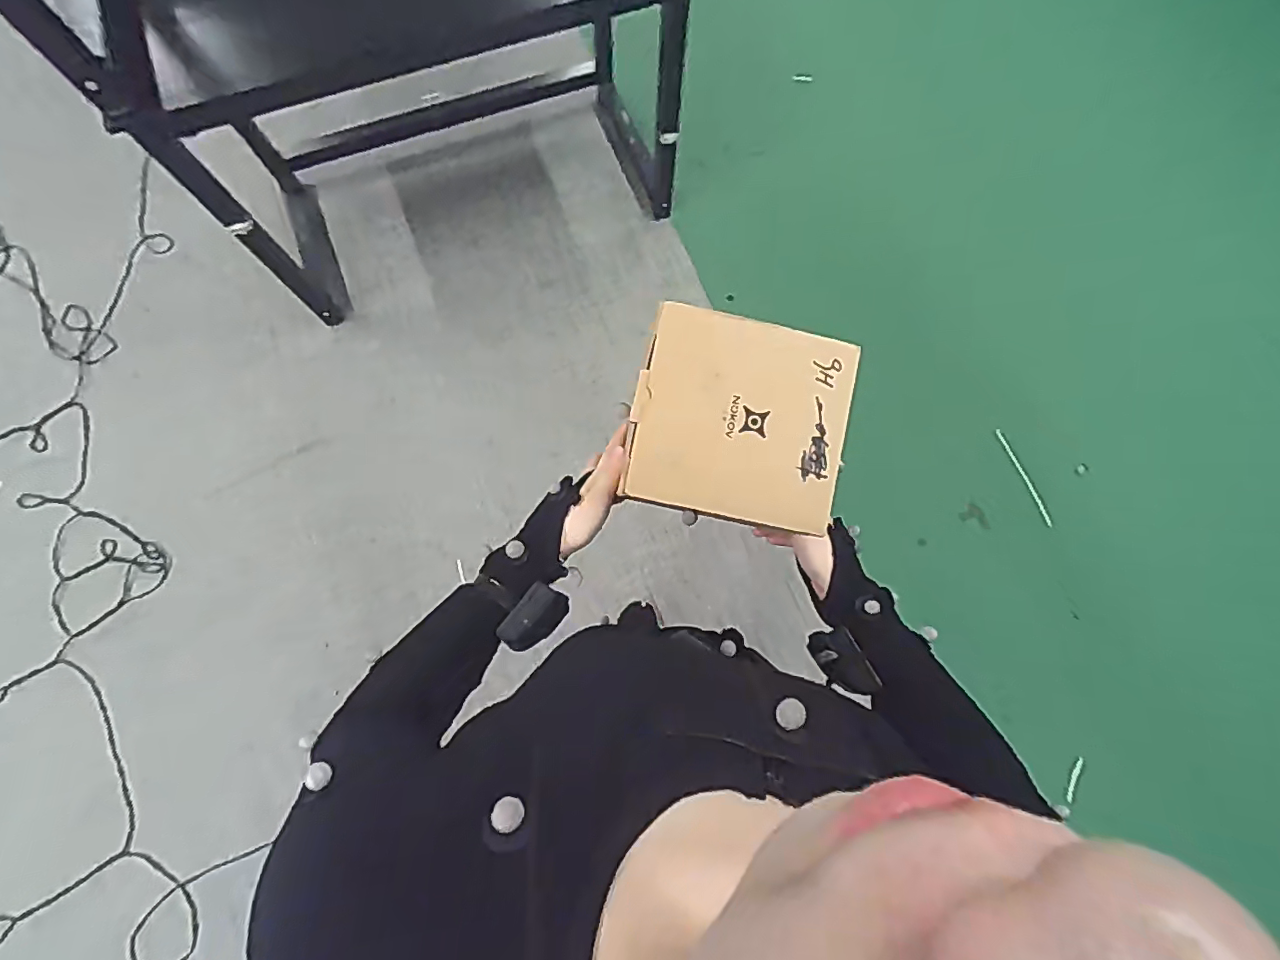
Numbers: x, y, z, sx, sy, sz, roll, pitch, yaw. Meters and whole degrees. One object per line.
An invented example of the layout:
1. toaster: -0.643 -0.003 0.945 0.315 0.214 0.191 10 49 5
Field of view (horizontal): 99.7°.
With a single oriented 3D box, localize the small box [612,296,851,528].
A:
1. small box: 0.072 -0.052 0.525 0.179 0.176 0.168 12 87 -4
